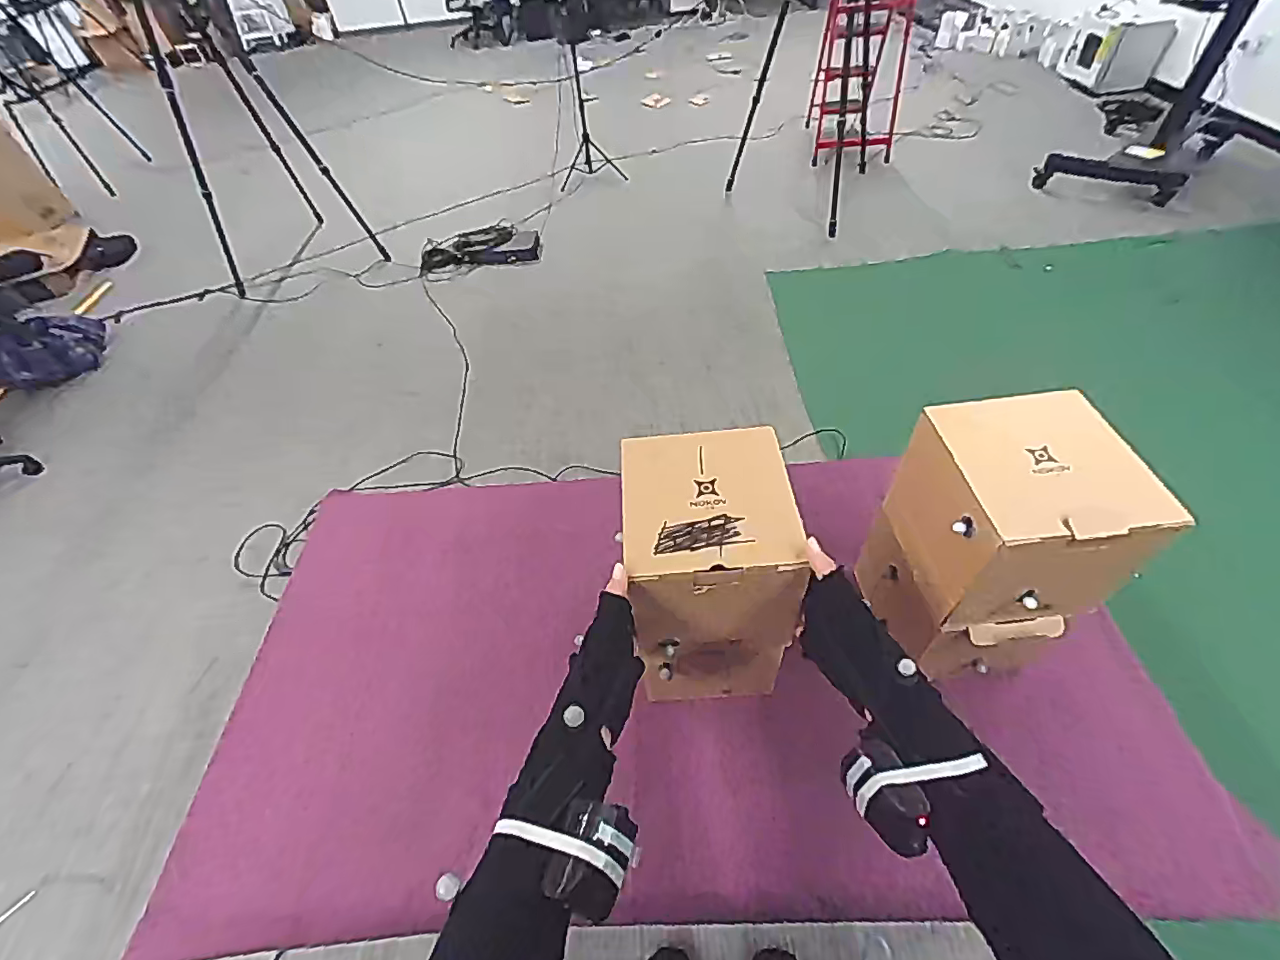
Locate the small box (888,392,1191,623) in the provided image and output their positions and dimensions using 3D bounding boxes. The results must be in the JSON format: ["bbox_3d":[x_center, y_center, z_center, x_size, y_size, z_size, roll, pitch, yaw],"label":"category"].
[{"bbox_3d":[0.392,0.032,0.578,0.168,0.176,0.179,-7,51,0],"label":"small box"}]

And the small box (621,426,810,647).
[{"bbox_3d":[0.071,0.067,0.580,0.168,0.176,0.179,-5,48,2],"label":"small box"}]

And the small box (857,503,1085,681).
[{"bbox_3d":[0.402,0.138,0.701,0.168,0.176,0.179,-7,51,1],"label":"small box"}]
